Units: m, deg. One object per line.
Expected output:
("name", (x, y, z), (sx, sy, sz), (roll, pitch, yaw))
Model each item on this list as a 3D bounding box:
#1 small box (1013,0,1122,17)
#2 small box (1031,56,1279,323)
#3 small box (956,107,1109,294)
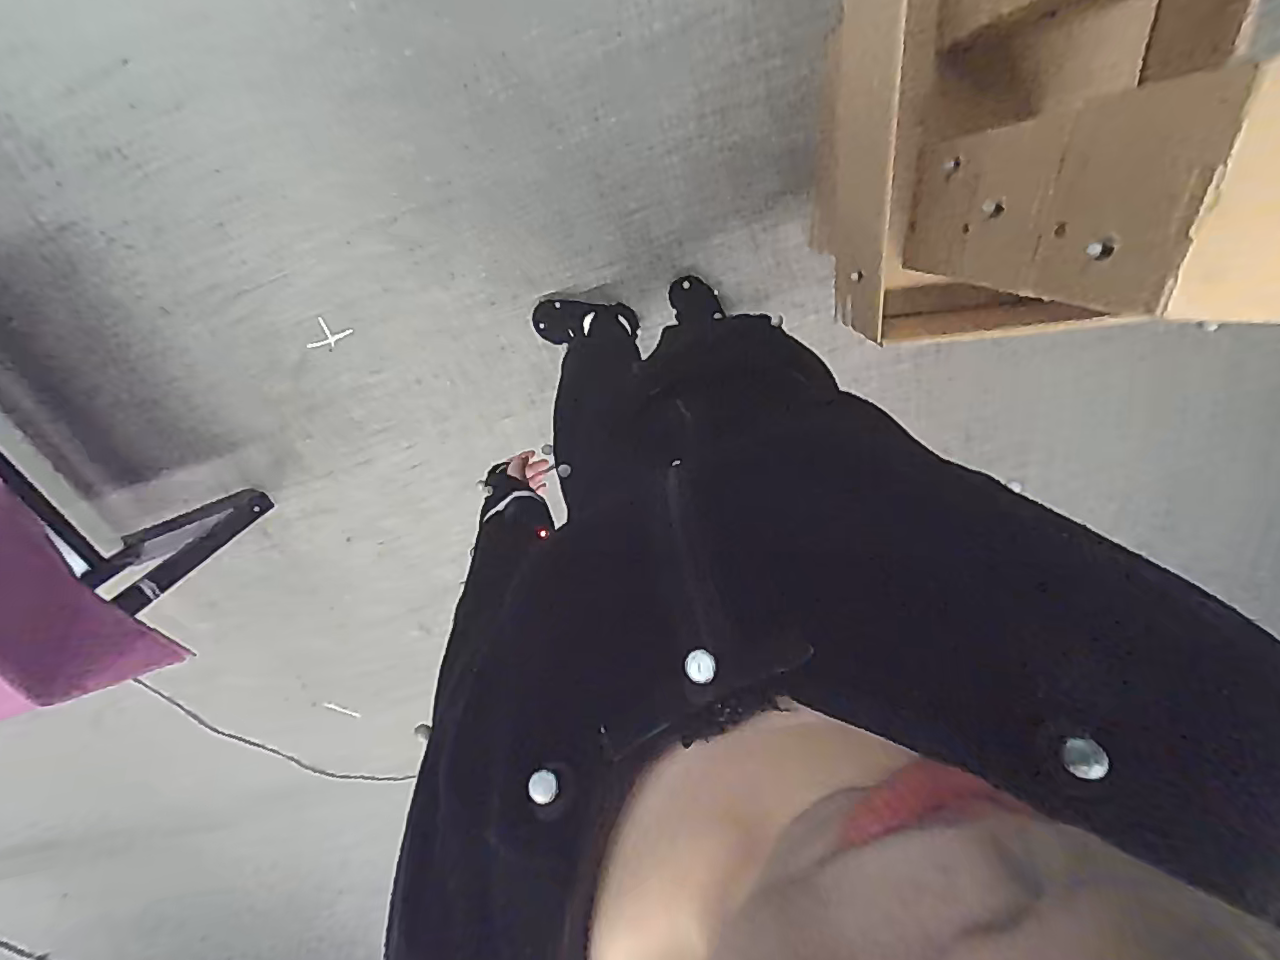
("small box", (0.463, -0.553, 0.473), (0.168, 0.176, 0.179), (-6, 117, 6))
("small box", (0.478, -0.227, 0.447), (0.179, 0.176, 0.168), (2, 117, 1))
("small box", (0.485, -0.298, 0.595), (0.179, 0.176, 0.168), (1, 116, 3))
